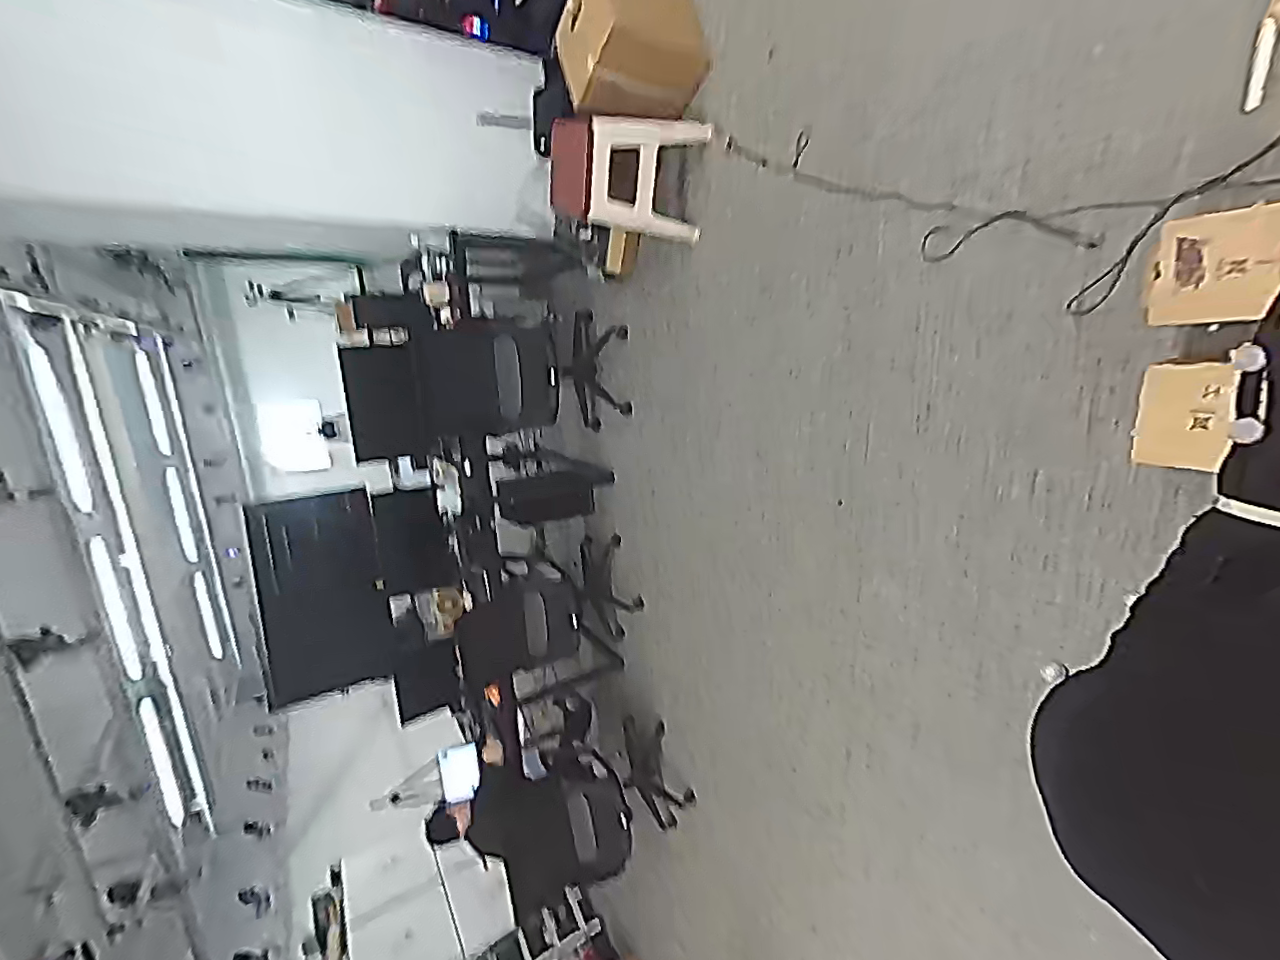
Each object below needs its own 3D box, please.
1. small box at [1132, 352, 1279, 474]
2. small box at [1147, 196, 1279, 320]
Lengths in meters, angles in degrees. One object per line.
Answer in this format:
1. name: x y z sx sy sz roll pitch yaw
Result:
1. small box: 0.985 -0.122 0.918 0.168 0.176 0.179 18 116 55
2. small box: 0.968 -0.348 0.867 0.179 0.176 0.168 15 113 55
